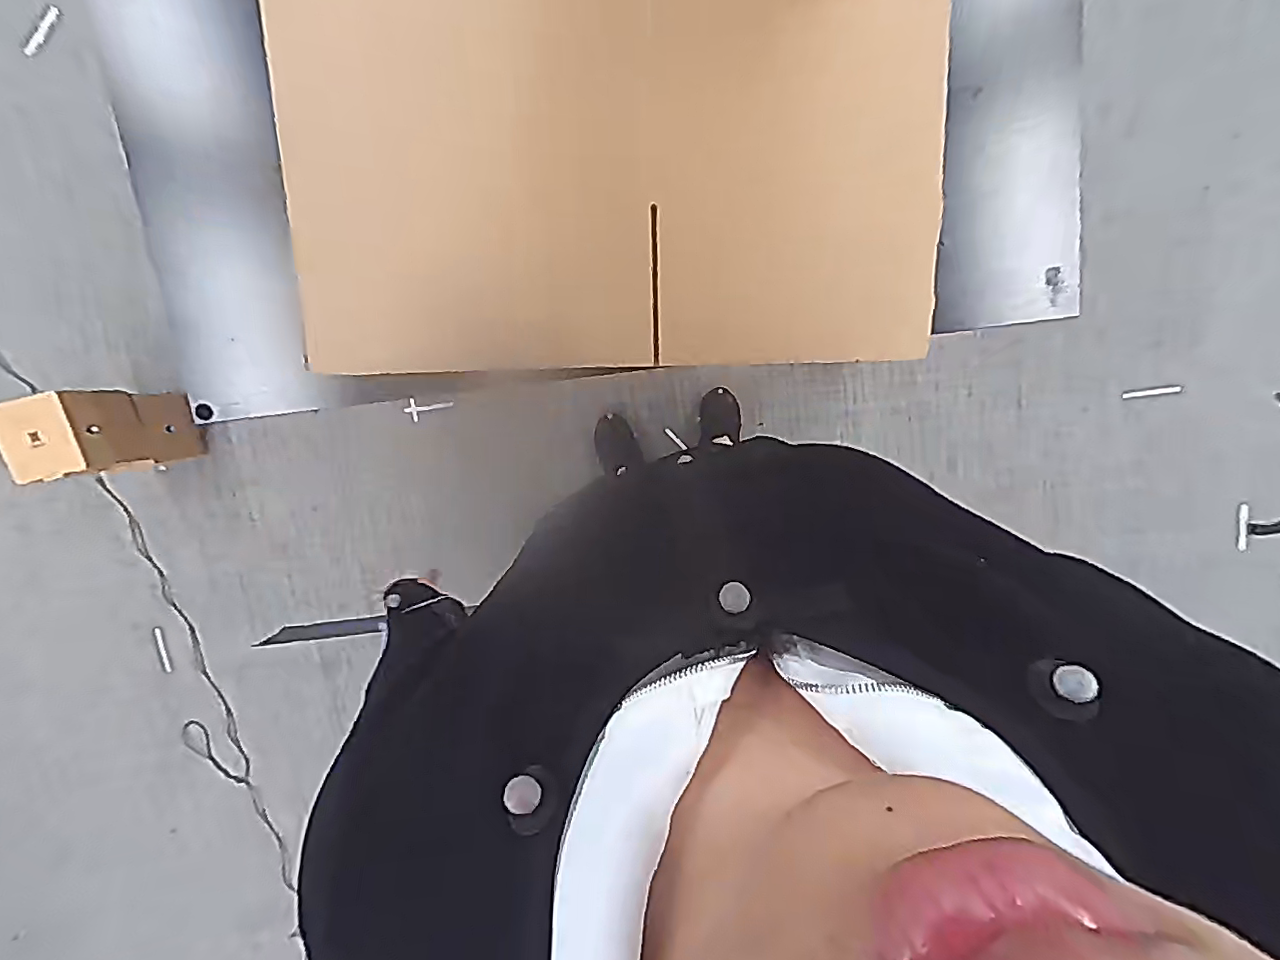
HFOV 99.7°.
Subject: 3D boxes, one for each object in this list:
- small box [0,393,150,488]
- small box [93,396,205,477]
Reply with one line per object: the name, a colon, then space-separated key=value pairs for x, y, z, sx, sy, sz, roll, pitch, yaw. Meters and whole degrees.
small box: x=-1.282 y=-0.095 z=1.228 sx=0.168 sy=0.176 sz=0.179 roll=-14 pitch=98 yaw=1
small box: x=-1.280 y=-0.117 z=1.389 sx=0.168 sy=0.176 sz=0.179 roll=-11 pitch=100 yaw=2
